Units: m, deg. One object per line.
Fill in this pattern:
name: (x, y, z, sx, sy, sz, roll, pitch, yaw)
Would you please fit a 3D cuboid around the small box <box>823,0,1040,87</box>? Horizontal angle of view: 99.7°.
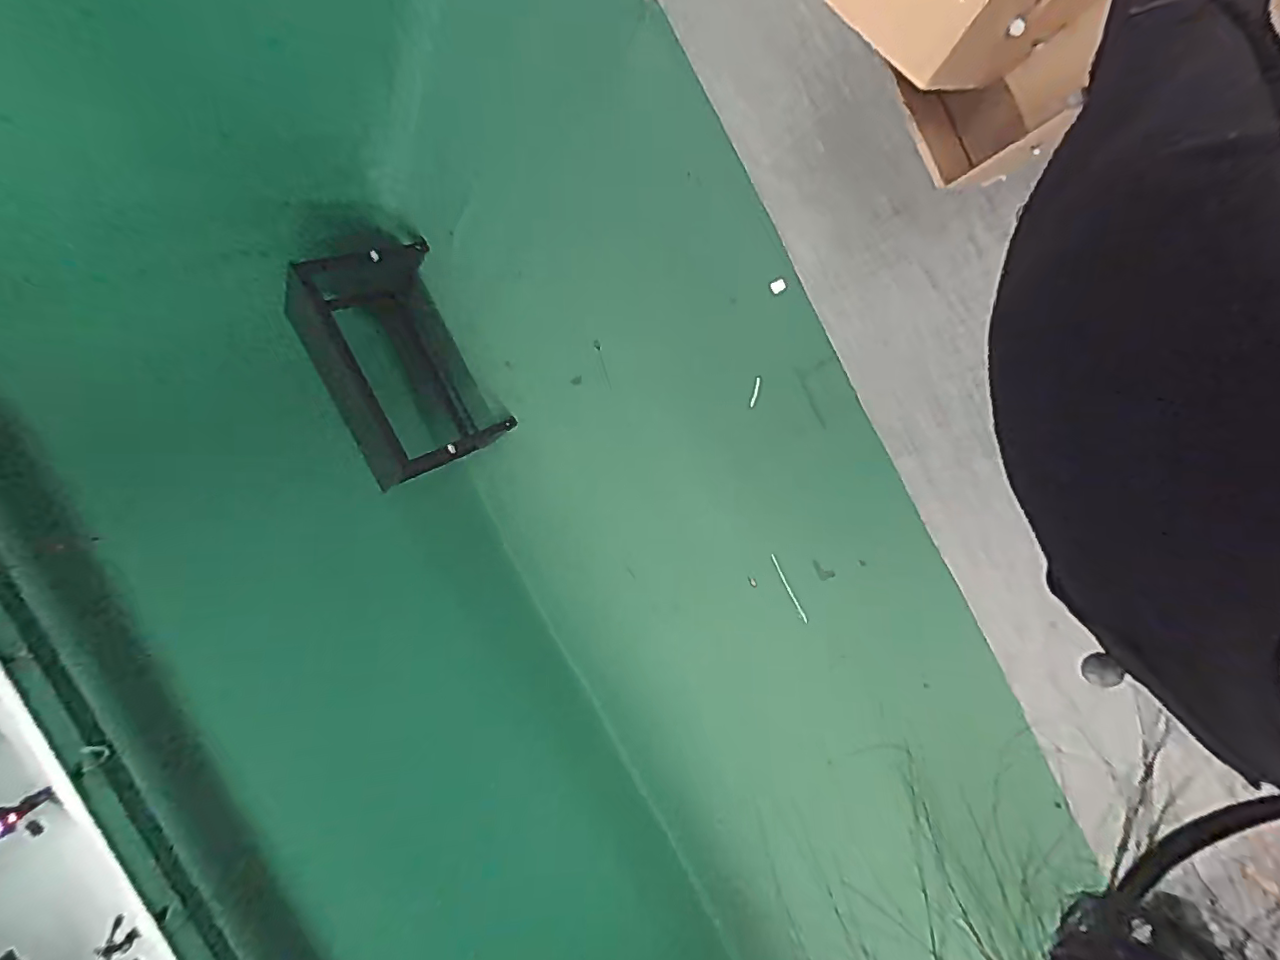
small box: (0.355, -0.591, 0.624, 0.179, 0.176, 0.168, 52, 145, 10)
